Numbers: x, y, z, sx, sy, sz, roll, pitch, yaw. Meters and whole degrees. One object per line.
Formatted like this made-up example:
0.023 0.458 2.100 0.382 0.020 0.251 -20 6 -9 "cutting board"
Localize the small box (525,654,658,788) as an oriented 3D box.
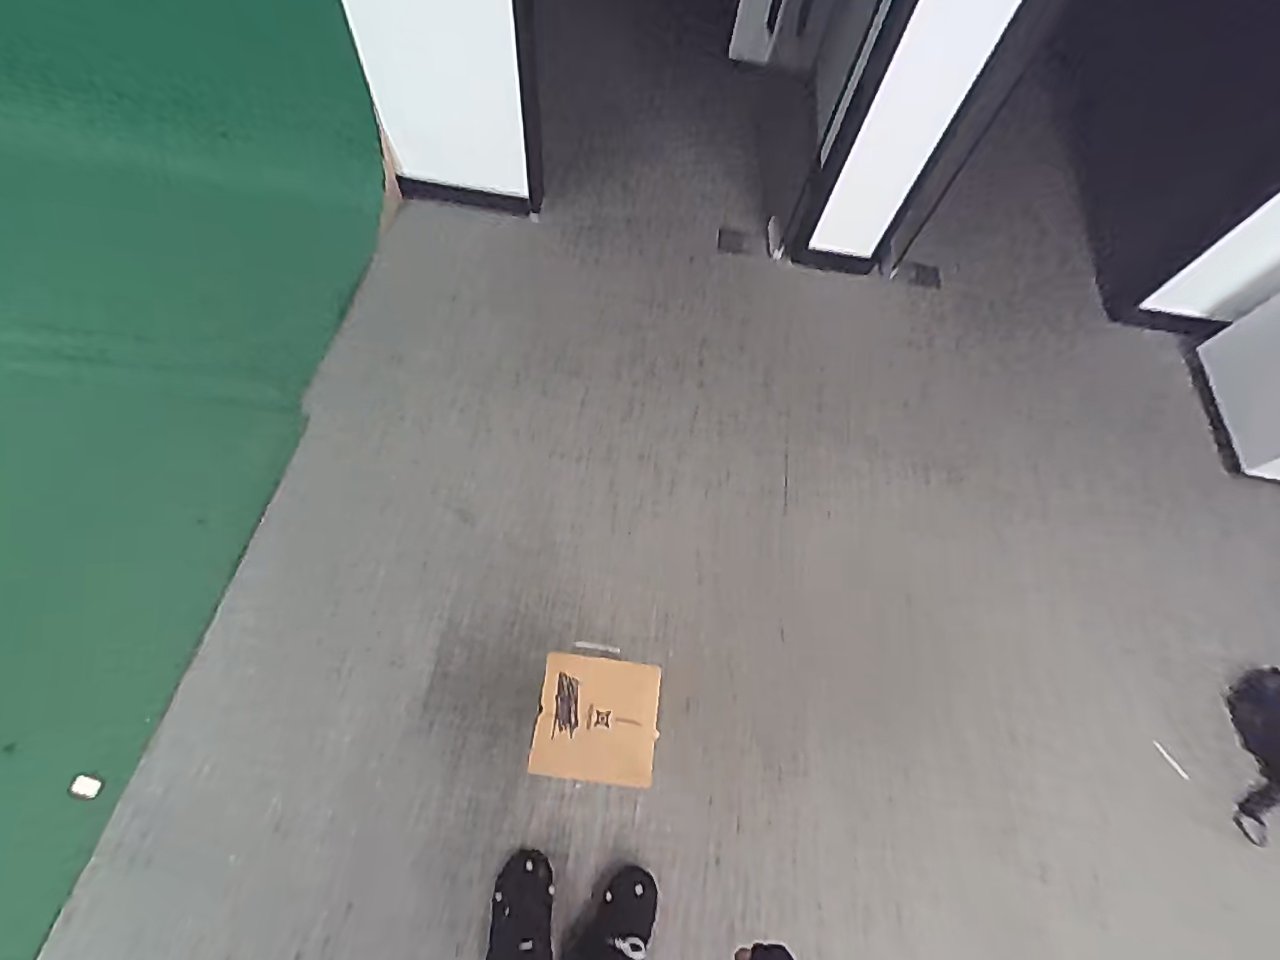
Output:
-0.073 0.388 0.869 0.179 0.176 0.168 8 63 -1 "small box"
